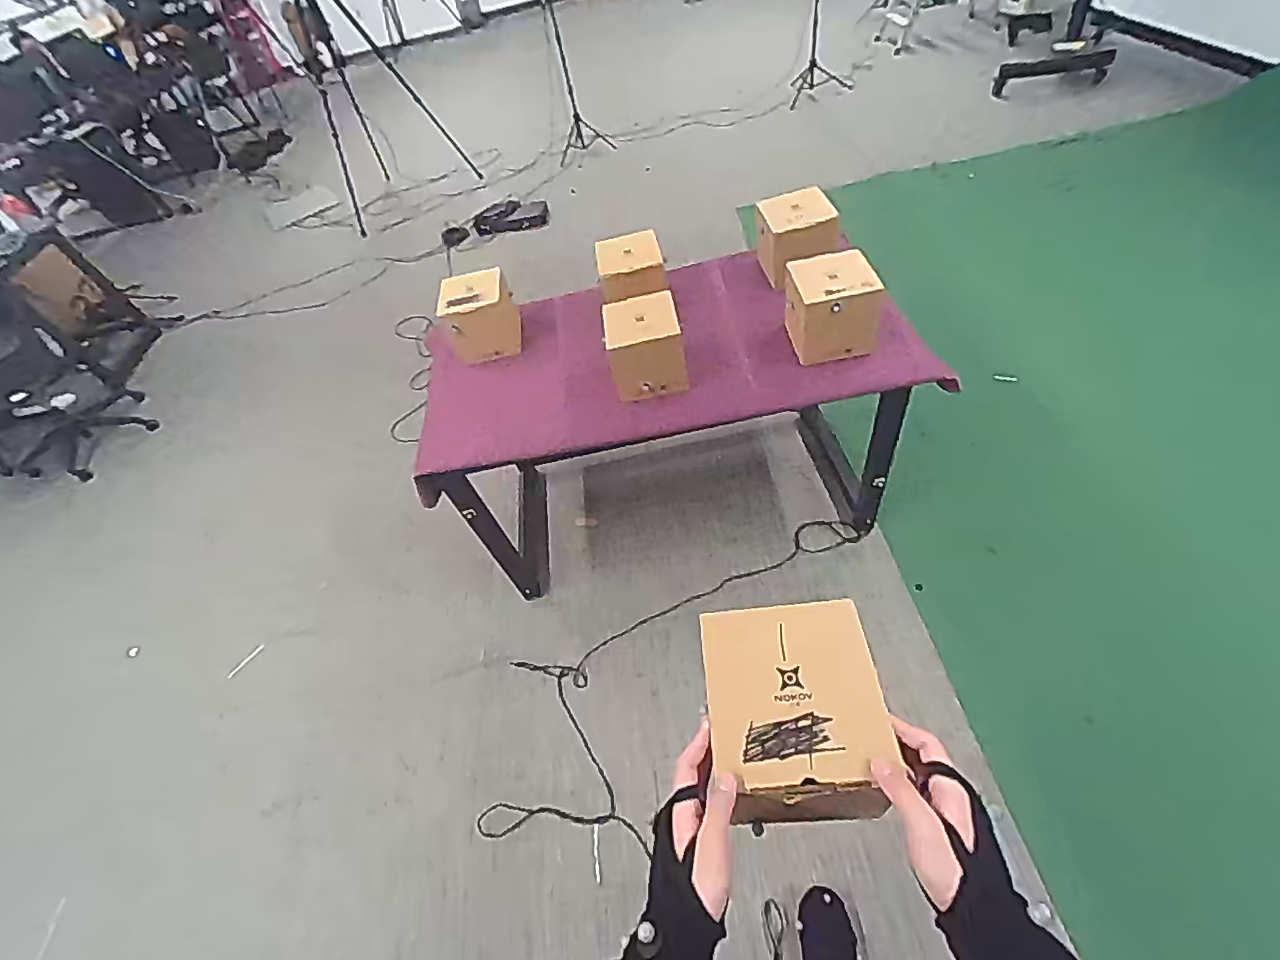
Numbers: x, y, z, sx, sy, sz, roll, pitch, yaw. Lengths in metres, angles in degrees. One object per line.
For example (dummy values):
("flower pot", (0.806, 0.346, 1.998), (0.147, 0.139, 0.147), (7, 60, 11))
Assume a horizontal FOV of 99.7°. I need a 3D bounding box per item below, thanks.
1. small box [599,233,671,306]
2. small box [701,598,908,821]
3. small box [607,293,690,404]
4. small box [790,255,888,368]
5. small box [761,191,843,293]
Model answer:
("small box", (-0.009, -0.531, 1.457), (0.168, 0.176, 0.179), (-12, 51, 2))
("small box", (0.161, 0.249, 0.575), (0.168, 0.176, 0.179), (-8, 48, 7))
("small box", (0.020, -0.304, 1.266), (0.168, 0.176, 0.179), (-11, 50, 5))
("small box", (0.441, -0.382, 1.233), (0.168, 0.176, 0.179), (-10, 48, 7))
("small box", (0.421, -0.628, 1.434), (0.168, 0.176, 0.179), (-13, 51, 6))
